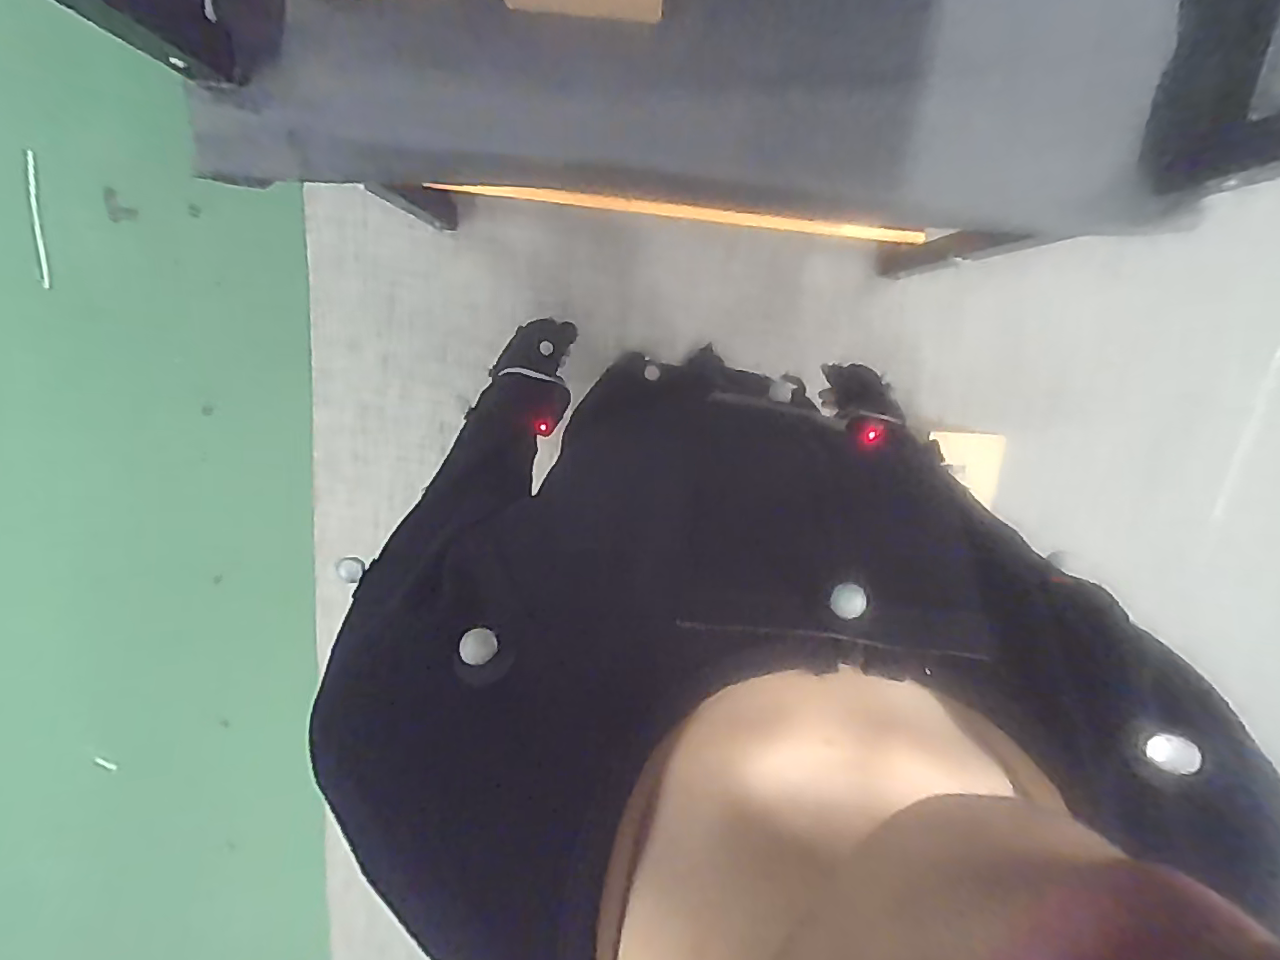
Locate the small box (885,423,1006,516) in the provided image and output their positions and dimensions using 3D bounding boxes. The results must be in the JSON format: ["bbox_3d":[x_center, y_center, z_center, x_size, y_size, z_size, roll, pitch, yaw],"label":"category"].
[{"bbox_3d":[0.681,-0.029,1.228,0.168,0.176,0.179,3,103,-1],"label":"small box"}]
